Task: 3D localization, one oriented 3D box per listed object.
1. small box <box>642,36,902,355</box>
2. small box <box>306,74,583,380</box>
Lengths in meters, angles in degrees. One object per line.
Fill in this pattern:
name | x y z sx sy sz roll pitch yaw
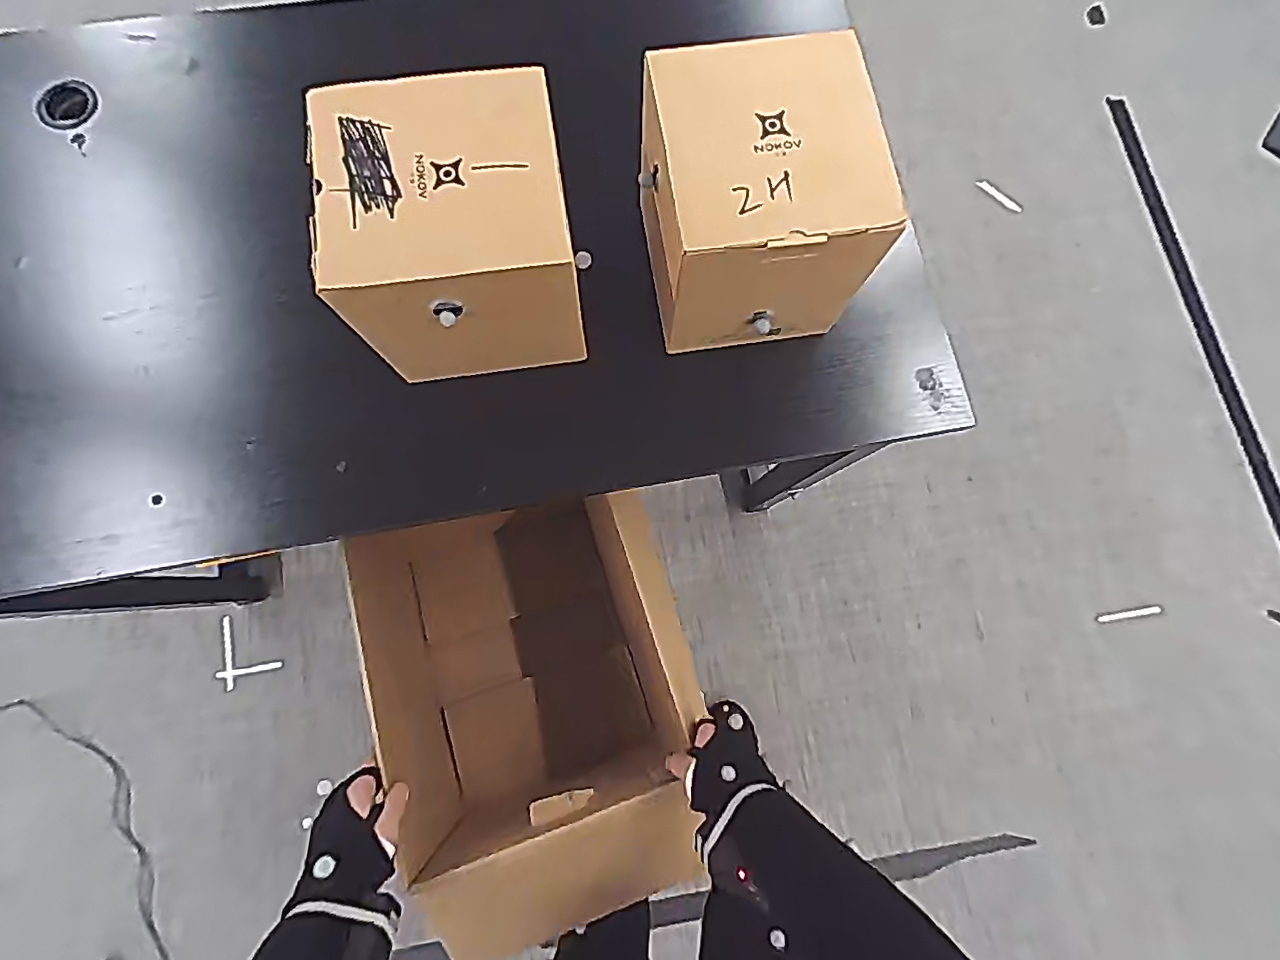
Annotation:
small box | 0.093 -0.233 0.475 0.168 0.176 0.179 -8 79 -2
small box | -0.149 -0.197 0.462 0.179 0.176 0.168 -8 79 -4
